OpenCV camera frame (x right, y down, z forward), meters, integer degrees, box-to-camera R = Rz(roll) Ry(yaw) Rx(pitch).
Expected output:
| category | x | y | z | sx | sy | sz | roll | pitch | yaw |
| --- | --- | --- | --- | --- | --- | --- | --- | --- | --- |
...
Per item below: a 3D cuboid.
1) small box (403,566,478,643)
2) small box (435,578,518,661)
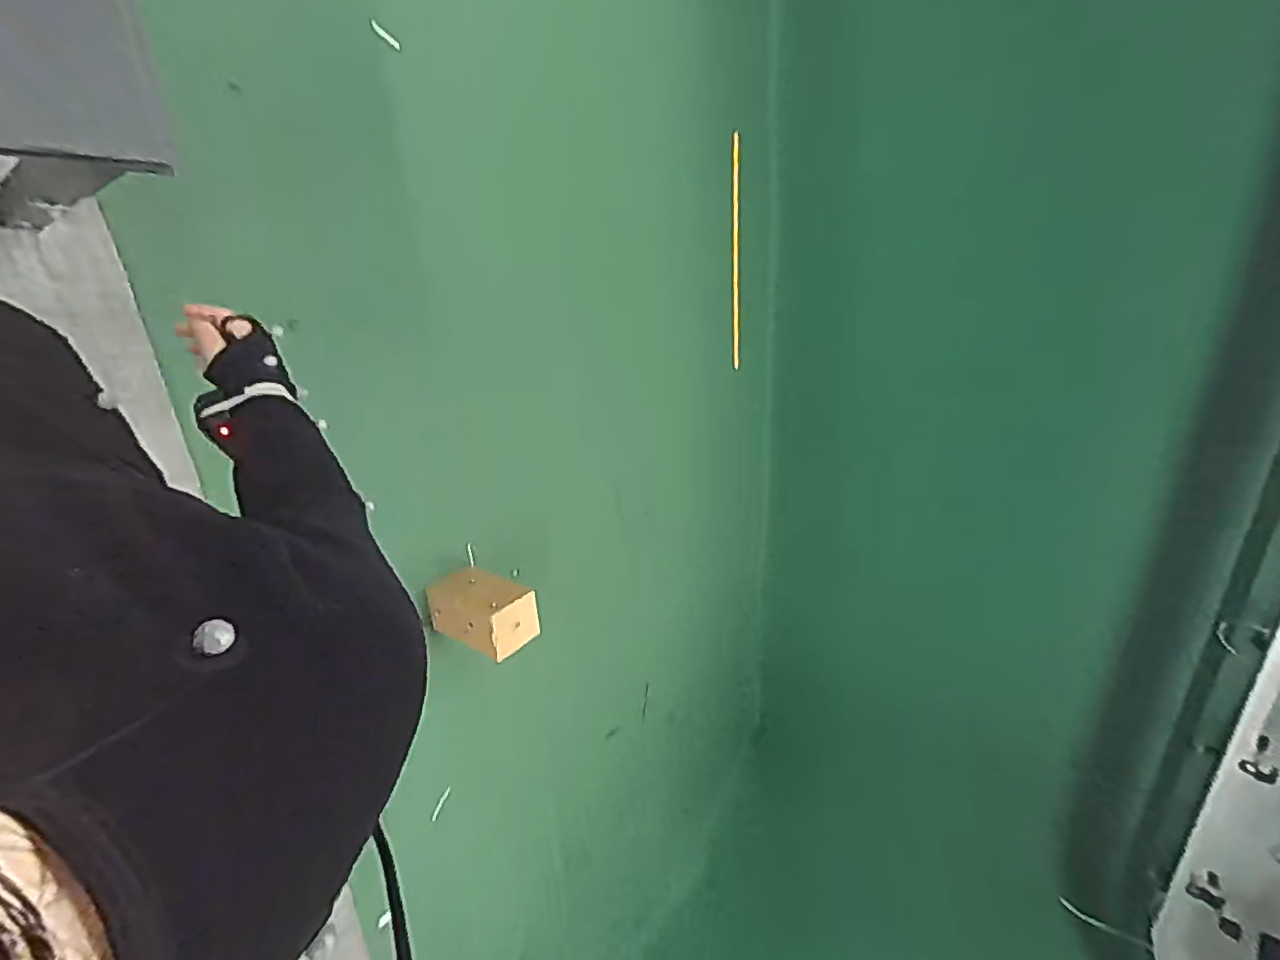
| category | x | y | z | sx | sy | sz | roll | pitch | yaw |
| --- | --- | --- | --- | --- | --- | --- | --- | --- | --- |
| small box | -0.647 | 0.402 | 1.785 | 0.179 | 0.176 | 0.168 | -28 | 121 | -51 |
| small box | -0.512 | 0.429 | 1.700 | 0.179 | 0.176 | 0.168 | -29 | 123 | -50 |
